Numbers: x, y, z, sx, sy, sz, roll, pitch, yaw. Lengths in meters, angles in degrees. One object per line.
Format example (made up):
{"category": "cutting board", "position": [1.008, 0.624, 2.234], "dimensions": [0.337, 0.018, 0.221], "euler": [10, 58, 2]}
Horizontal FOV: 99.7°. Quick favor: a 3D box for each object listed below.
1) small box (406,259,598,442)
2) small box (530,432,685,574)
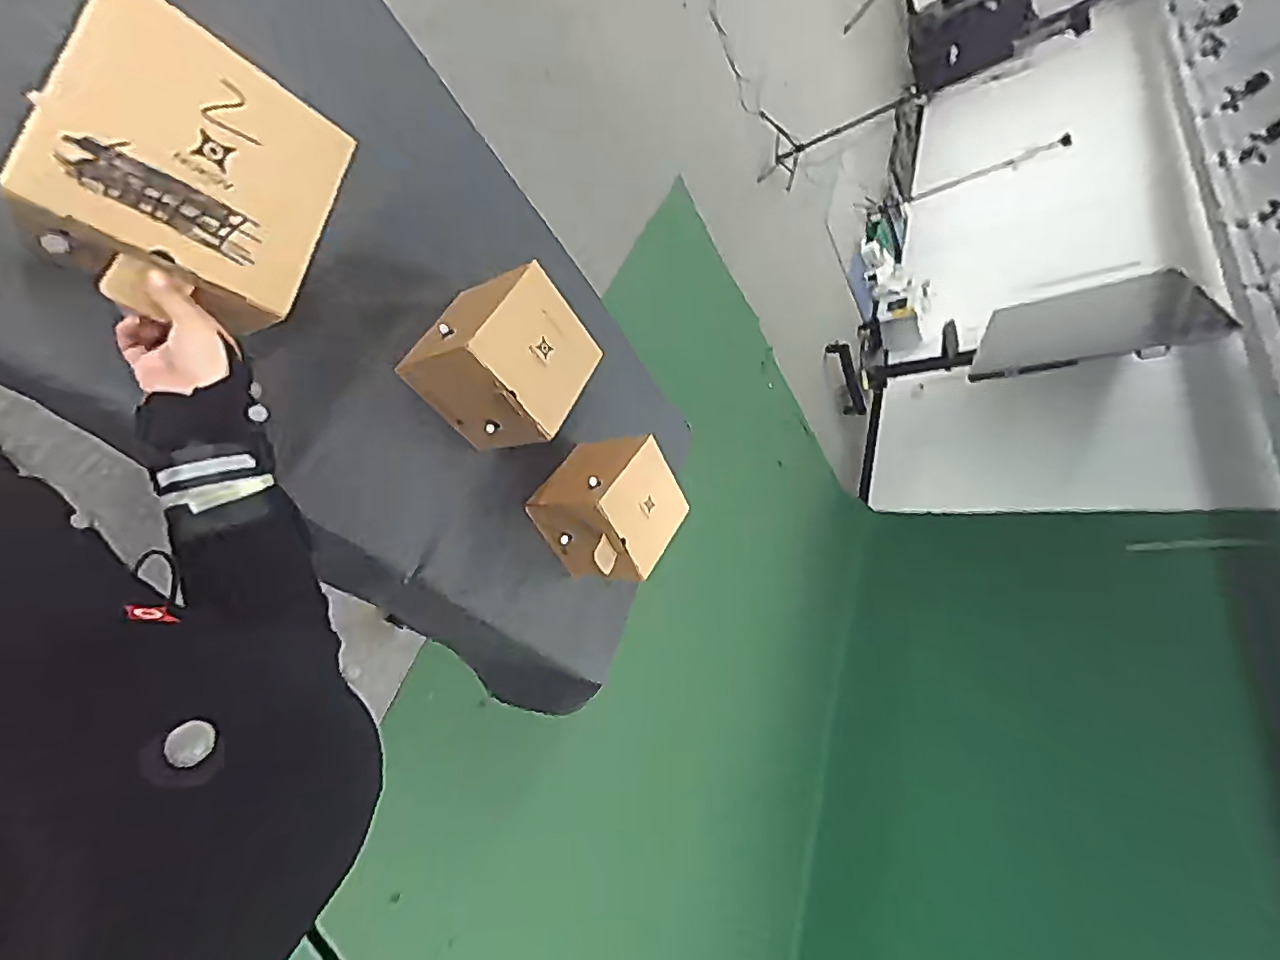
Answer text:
{"category": "small box", "position": [-0.194, -0.169, 0.761], "dimensions": [0.168, 0.176, 0.179], "euler": [50, 50, -38]}
{"category": "small box", "position": [-0.054, 0.038, 0.921], "dimensions": [0.179, 0.176, 0.168], "euler": [-55, 128, -38]}
